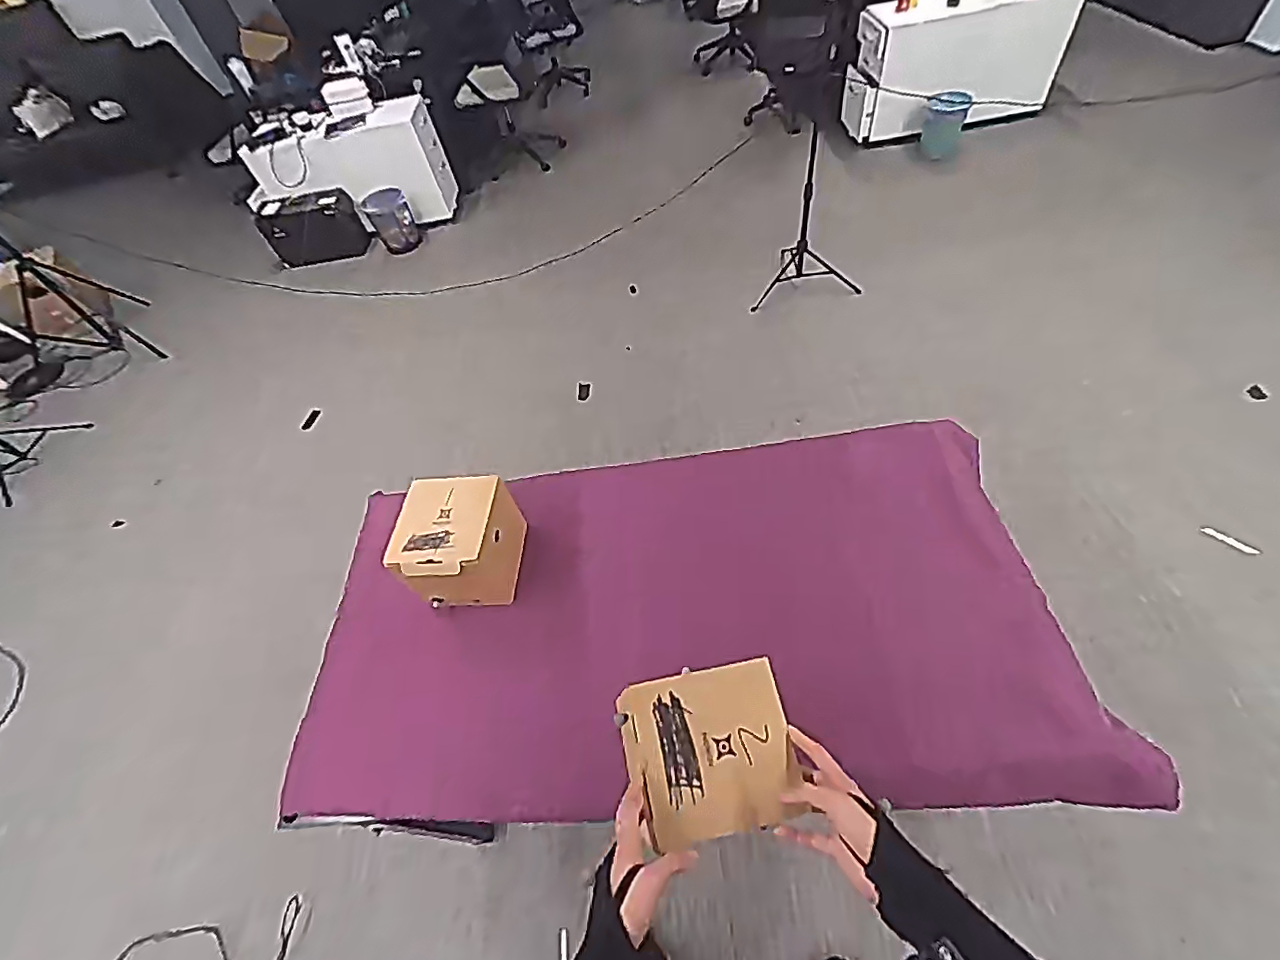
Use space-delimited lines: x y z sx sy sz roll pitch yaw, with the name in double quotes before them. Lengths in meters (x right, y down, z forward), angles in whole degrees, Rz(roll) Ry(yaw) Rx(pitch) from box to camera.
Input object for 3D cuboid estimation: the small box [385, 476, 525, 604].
"small box" -0.319 0.114 0.974 0.168 0.176 0.179 -3 53 7
